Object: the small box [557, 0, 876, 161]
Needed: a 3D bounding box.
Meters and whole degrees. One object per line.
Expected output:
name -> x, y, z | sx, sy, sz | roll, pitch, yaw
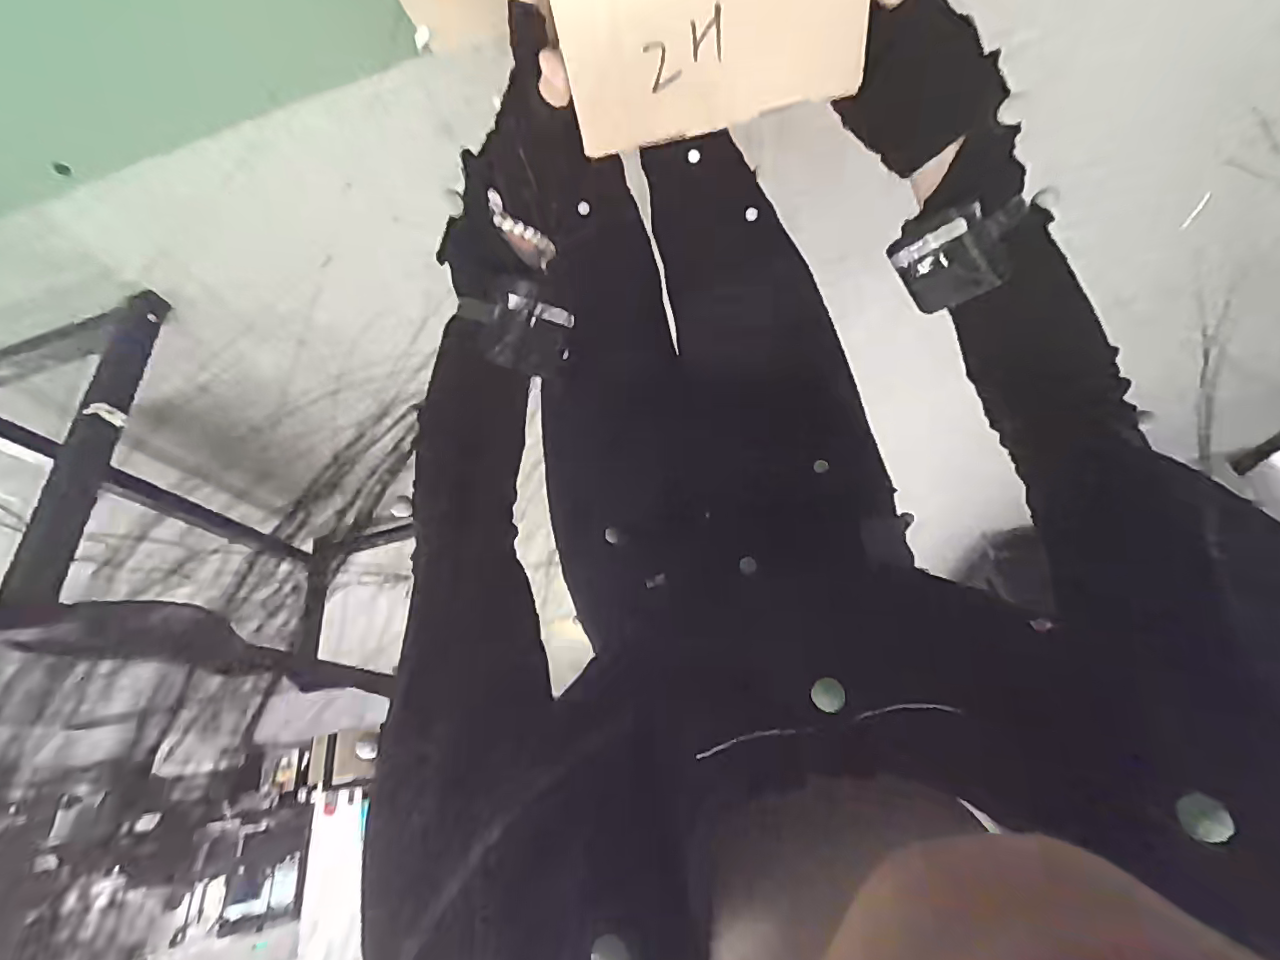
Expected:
small box -> 0.028, -0.320, 0.313 | 0.168, 0.176, 0.179 | -11, 136, 3
